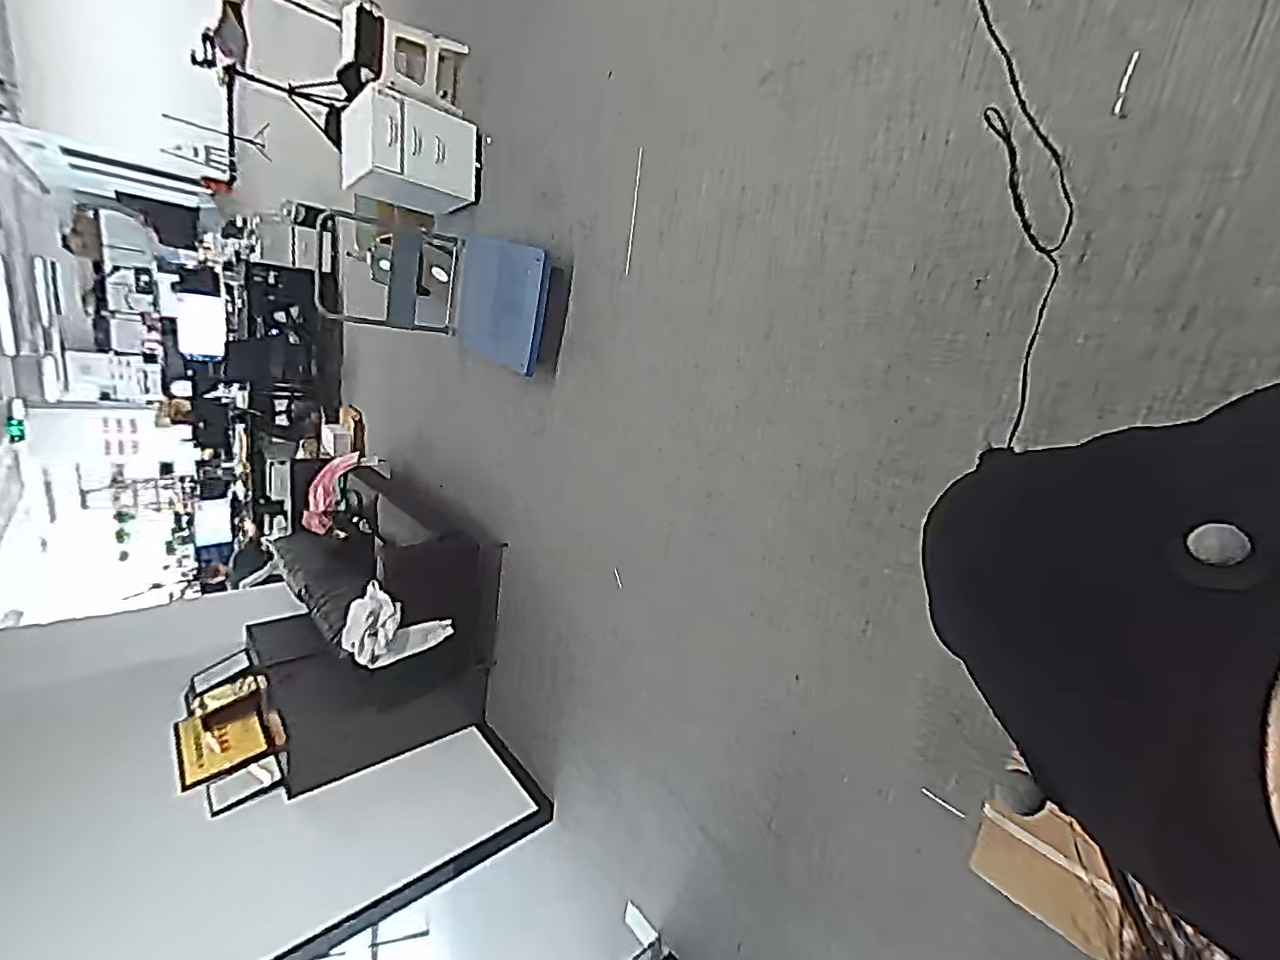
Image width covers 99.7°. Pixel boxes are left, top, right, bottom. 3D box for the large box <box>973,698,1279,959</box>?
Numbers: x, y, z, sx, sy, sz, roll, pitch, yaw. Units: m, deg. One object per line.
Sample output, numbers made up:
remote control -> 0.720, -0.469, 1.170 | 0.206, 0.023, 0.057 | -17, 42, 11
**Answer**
large box -> 0.970, 0.718, 1.089 | 0.408, 0.320, 0.320 | 23, 110, 43
